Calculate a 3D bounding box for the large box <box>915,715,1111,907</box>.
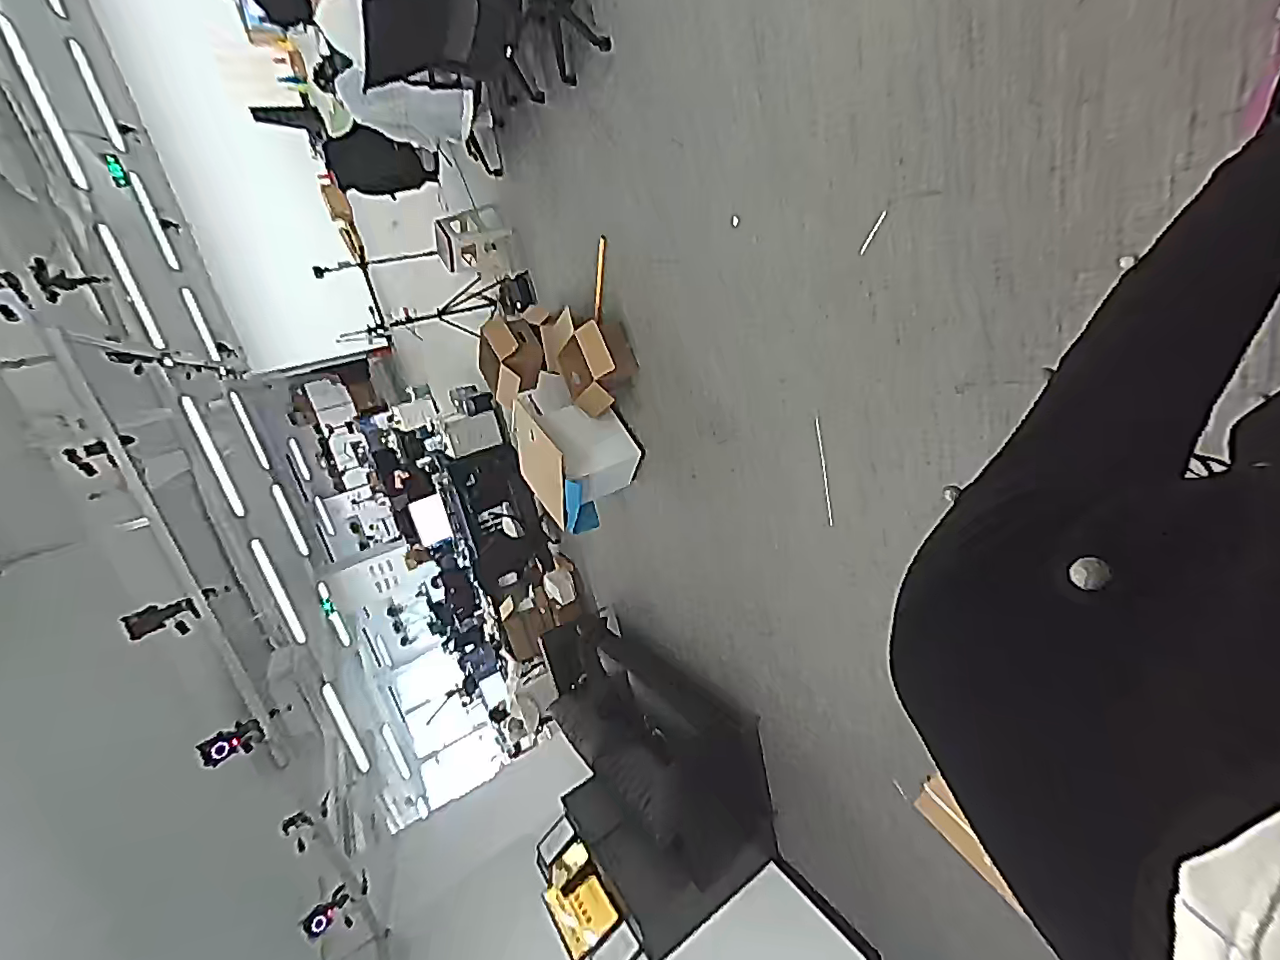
[{"bbox_3d":[1.251,1.109,1.847,0.408,0.320,0.320,41,144,40],"label":"large box"}]
